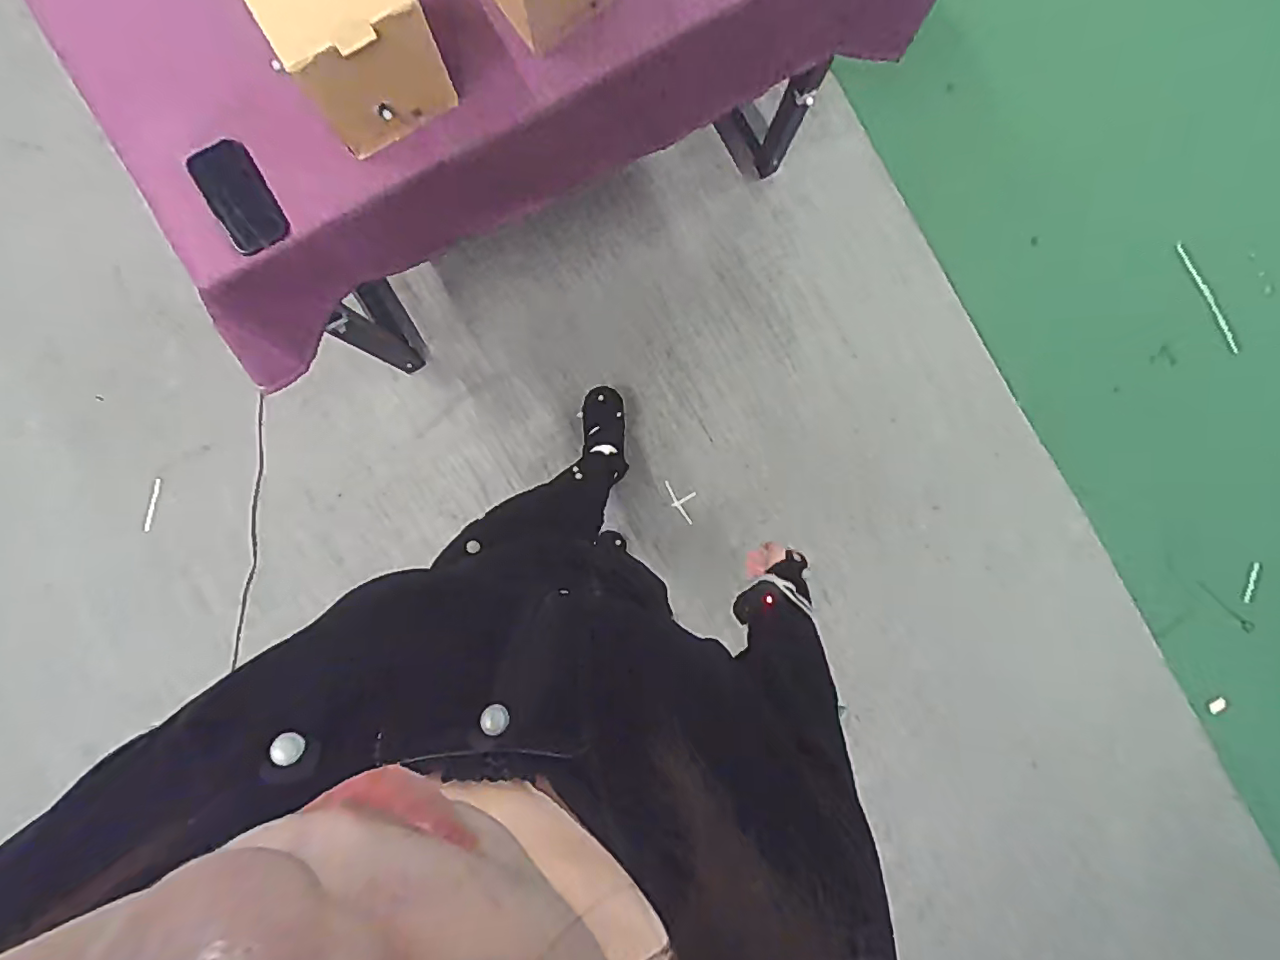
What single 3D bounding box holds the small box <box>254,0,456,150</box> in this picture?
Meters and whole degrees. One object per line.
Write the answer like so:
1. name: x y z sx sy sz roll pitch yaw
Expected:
1. small box: -0.362 -0.569 0.679 0.168 0.176 0.179 -31 92 -3
